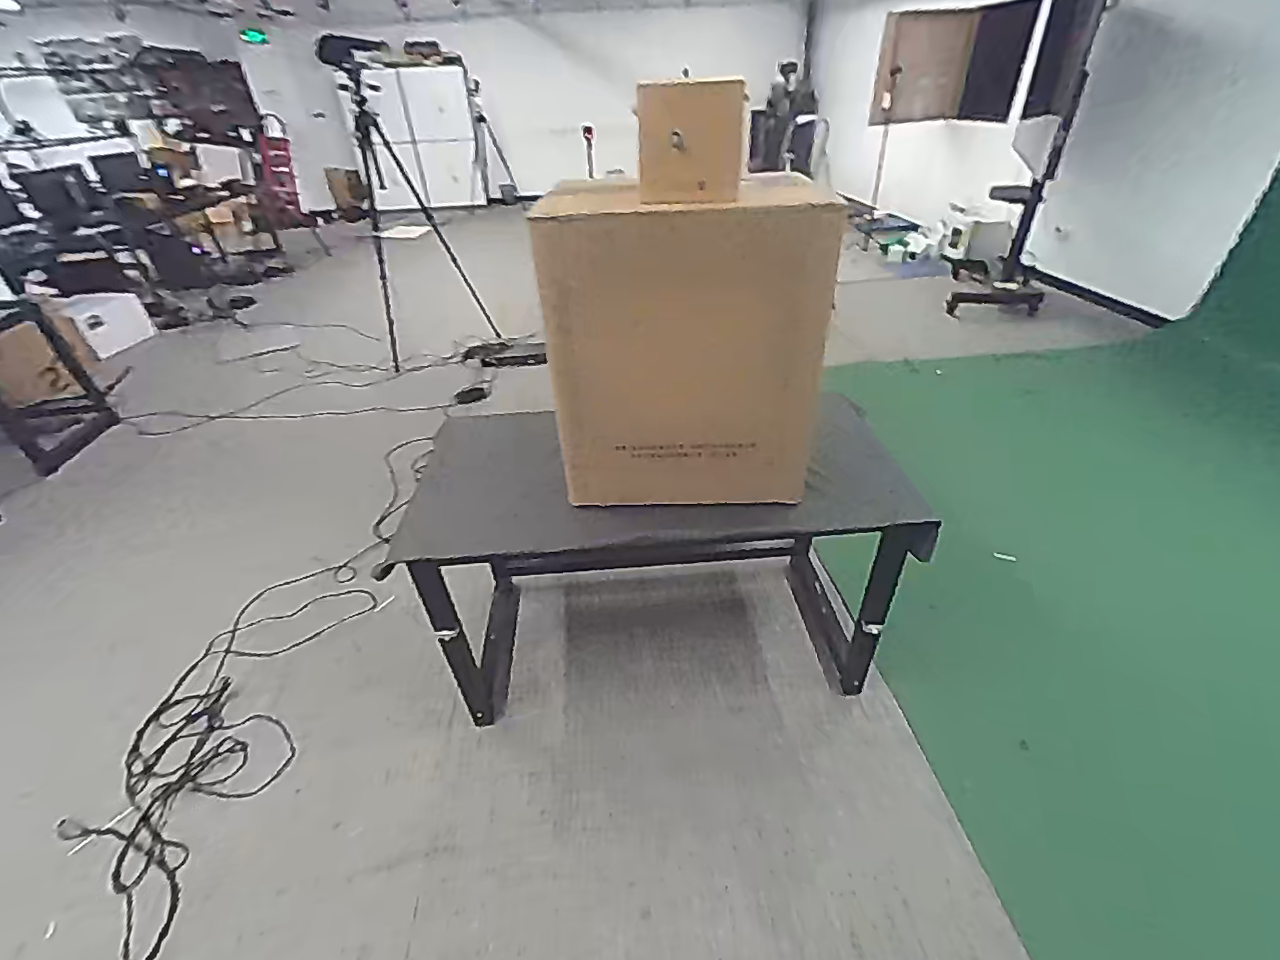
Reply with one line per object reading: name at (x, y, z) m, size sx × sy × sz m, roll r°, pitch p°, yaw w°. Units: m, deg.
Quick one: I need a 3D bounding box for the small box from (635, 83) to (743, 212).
small box at (0.087, -0.563, 0.921) m, size 0.168 × 0.176 × 0.179 m, roll 2°, pitch 38°, yaw 6°
